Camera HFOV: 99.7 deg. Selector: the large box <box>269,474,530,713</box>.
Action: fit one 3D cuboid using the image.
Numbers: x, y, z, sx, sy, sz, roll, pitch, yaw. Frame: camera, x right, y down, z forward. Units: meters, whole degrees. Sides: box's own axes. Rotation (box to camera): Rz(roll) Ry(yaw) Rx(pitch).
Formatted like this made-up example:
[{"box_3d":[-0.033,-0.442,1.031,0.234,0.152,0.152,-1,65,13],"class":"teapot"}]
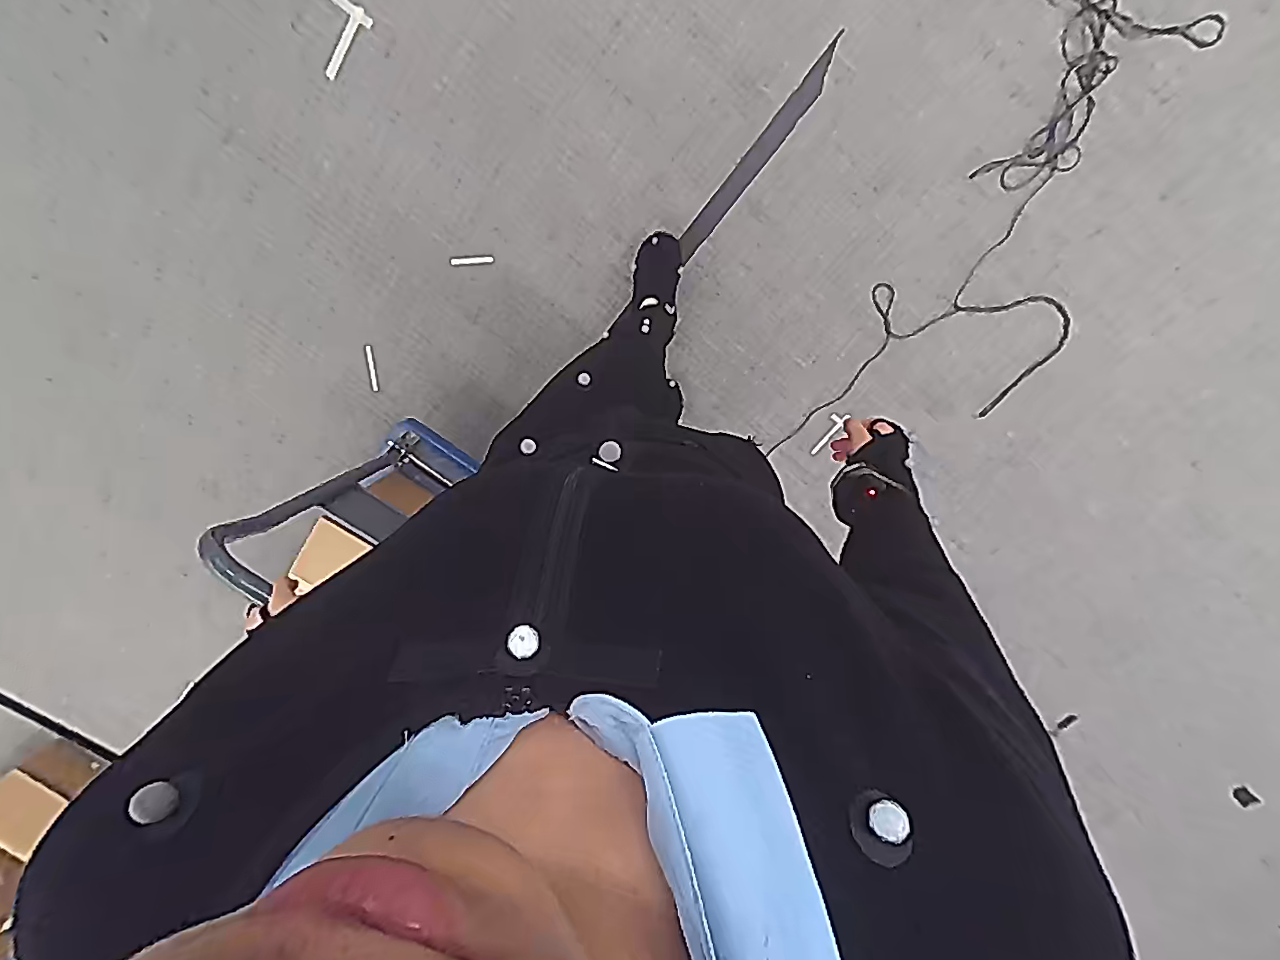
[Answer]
[{"box_3d":[-0.529,0.248,1.264,0.408,0.320,0.320,33,105,-8],"class":"large box"}]
